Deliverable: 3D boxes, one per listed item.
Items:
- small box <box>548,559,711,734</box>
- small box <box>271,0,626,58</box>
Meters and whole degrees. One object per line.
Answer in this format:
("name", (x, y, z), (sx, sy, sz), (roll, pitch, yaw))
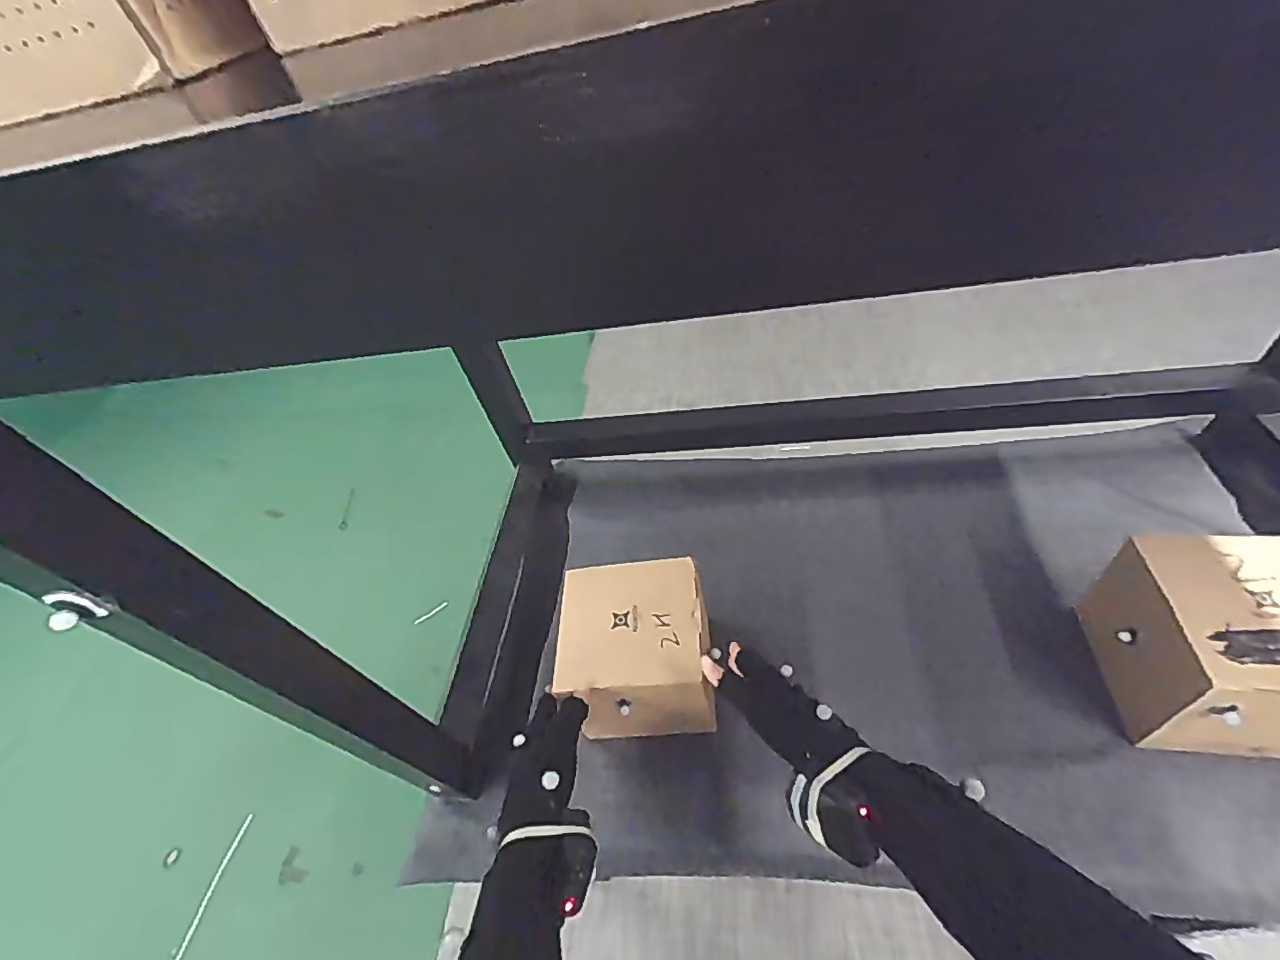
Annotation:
("small box", (-0.005, 0.225, 0.716), (0.179, 0.176, 0.168), (-6, 48, 8))
("small box", (-0.046, -0.249, 0.155), (0.168, 0.176, 0.179), (-4, 47, 10))
